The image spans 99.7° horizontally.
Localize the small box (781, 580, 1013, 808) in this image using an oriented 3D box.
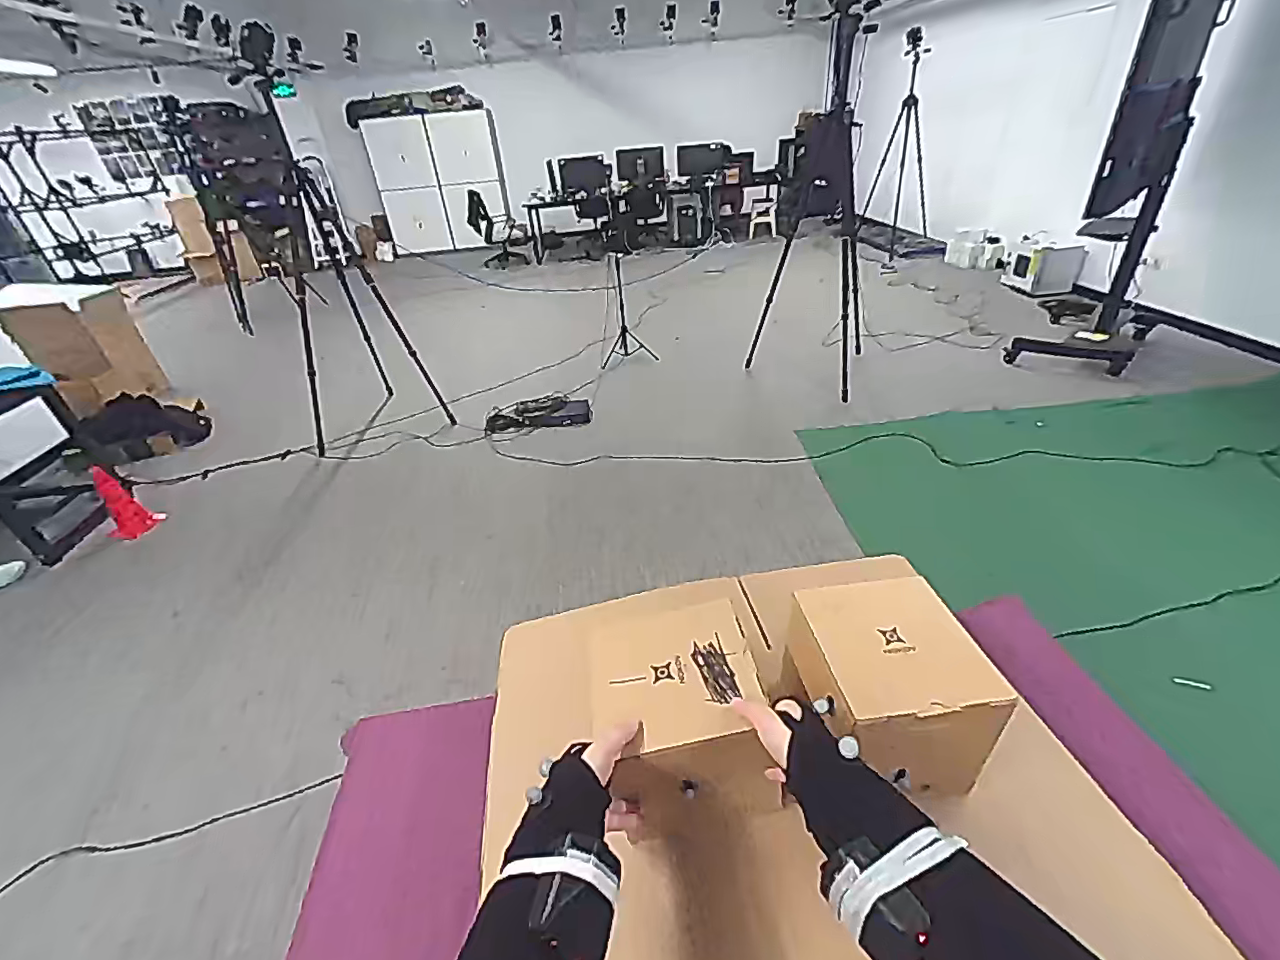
[{"bbox_3d":[0.274,0.243,0.629,0.168,0.176,0.179,-6,34,-4],"label":"small box"}]
